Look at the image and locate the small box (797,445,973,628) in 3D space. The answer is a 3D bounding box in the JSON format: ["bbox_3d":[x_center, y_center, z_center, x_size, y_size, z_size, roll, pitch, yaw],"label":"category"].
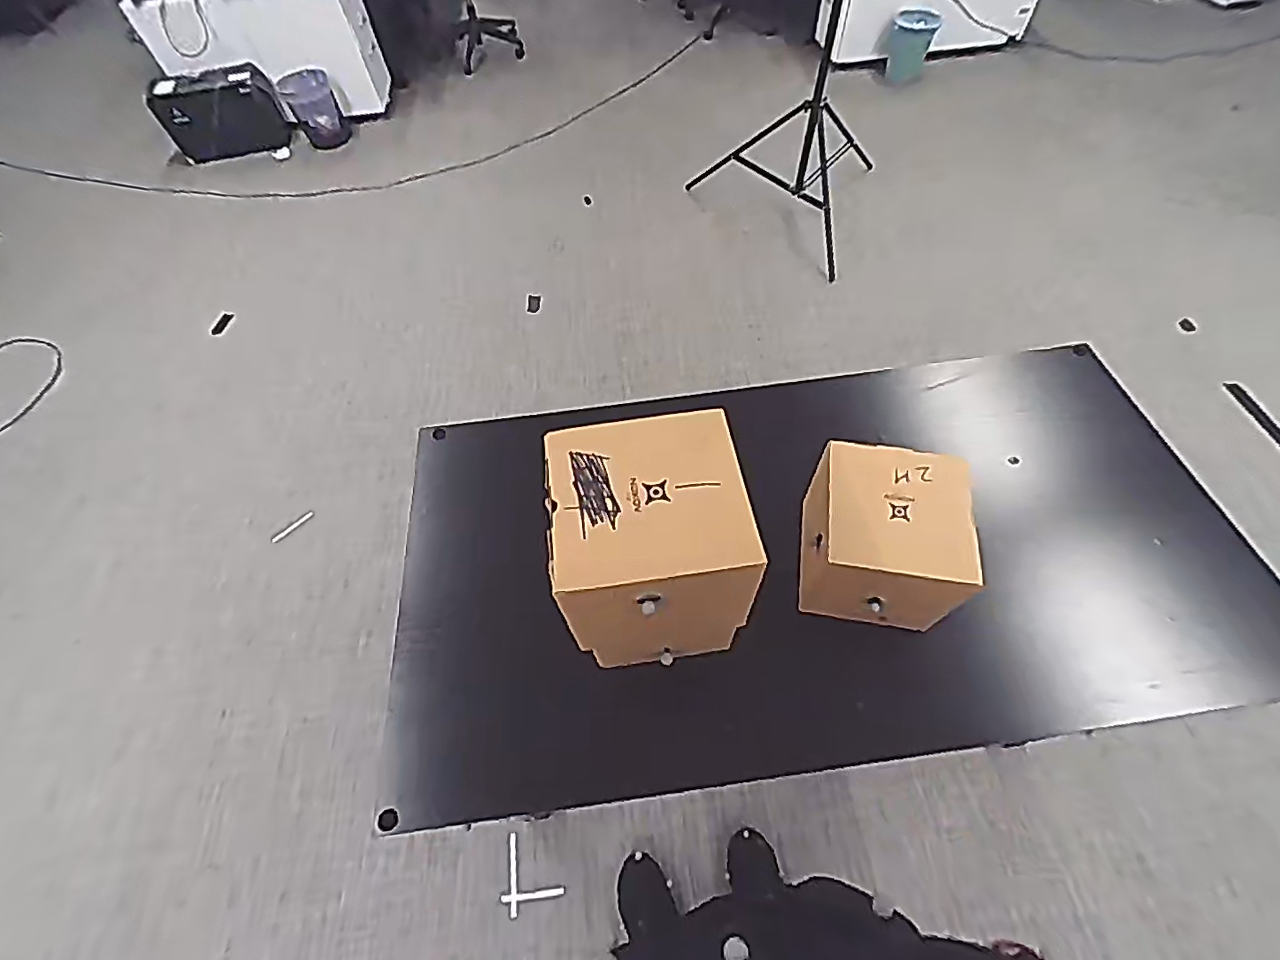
[{"bbox_3d":[0.310,0.080,0.717,0.168,0.176,0.179,8,58,8],"label":"small box"}]

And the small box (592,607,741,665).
[{"bbox_3d":[0.019,0.130,0.703,0.179,0.176,0.168,-8,57,-2],"label":"small box"}]

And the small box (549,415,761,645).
[{"bbox_3d":[0.011,0.058,0.553,0.179,0.176,0.168,-8,58,-2],"label":"small box"}]
